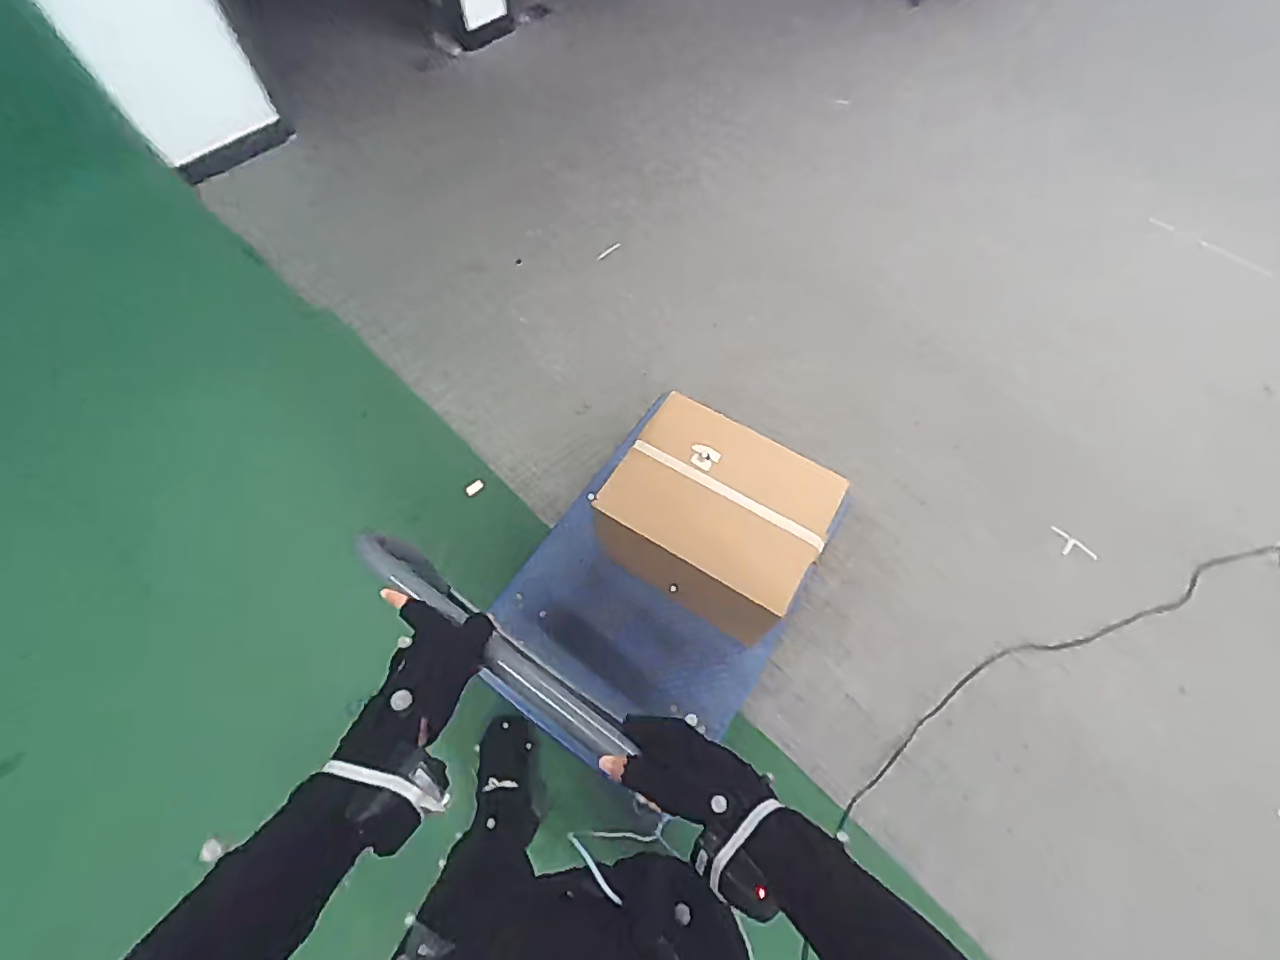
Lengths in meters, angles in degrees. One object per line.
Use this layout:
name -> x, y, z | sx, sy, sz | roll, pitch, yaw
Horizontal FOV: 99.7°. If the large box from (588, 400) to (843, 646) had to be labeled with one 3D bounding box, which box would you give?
large box -> 0.152, 0.102, 1.169 | 0.408, 0.320, 0.320 | 29, 66, 15
